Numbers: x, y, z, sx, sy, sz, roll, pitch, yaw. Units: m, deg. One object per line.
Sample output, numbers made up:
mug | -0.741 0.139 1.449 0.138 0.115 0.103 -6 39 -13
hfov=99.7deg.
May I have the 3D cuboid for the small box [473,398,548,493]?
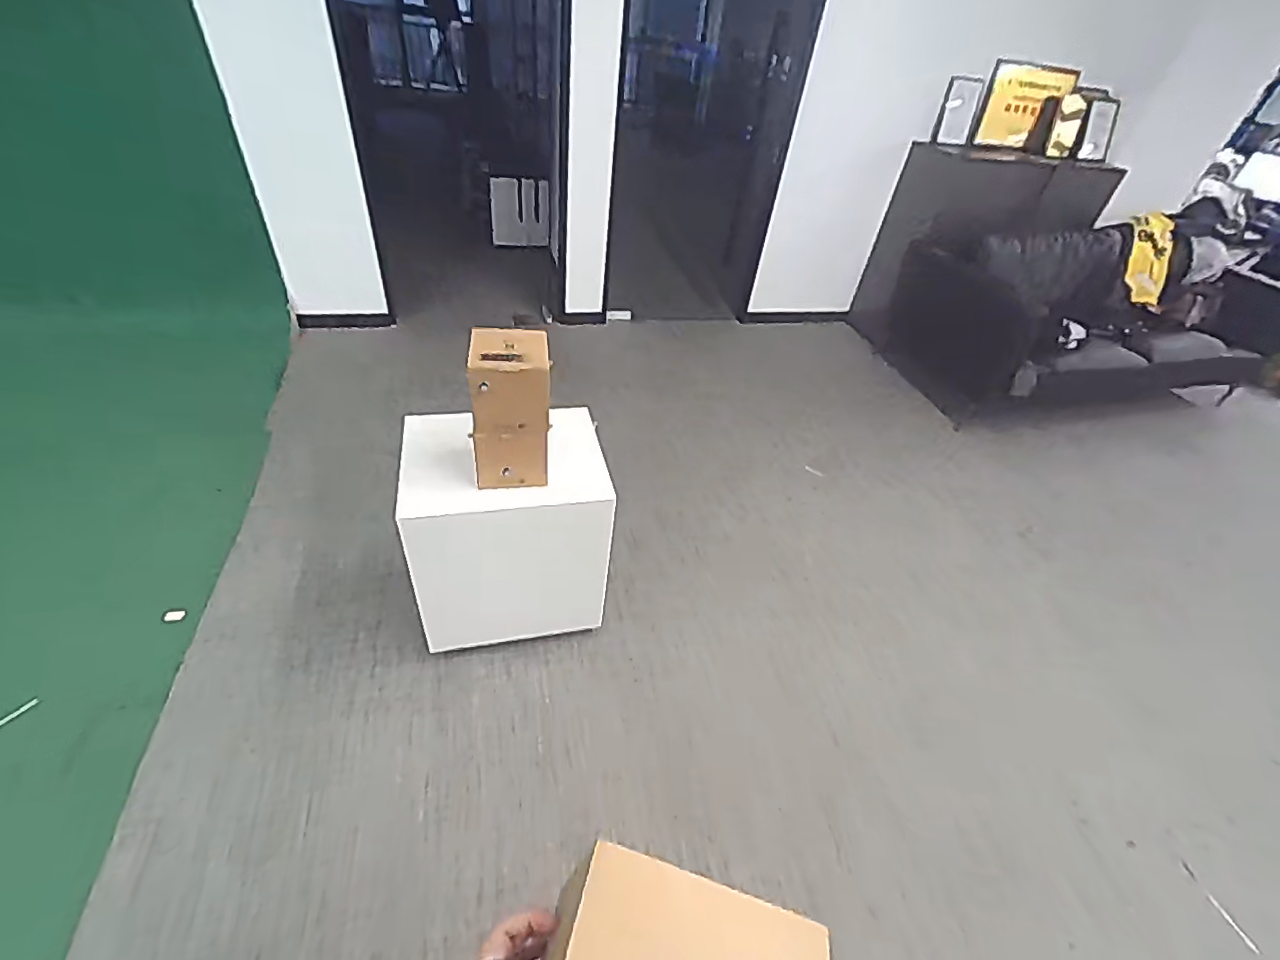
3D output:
small box | -0.315 -0.086 1.319 0.168 0.176 0.179 -3 40 -13
